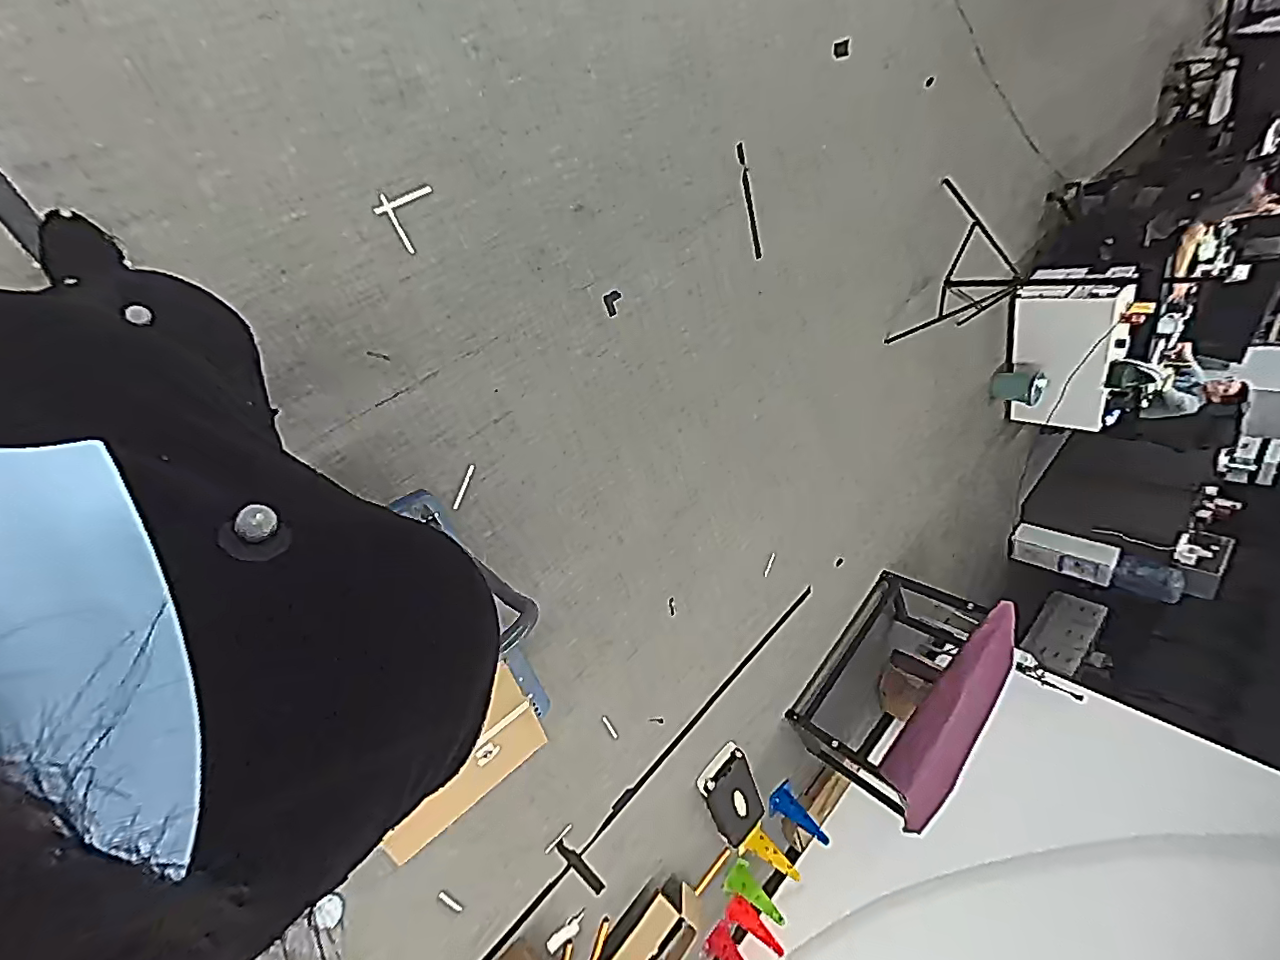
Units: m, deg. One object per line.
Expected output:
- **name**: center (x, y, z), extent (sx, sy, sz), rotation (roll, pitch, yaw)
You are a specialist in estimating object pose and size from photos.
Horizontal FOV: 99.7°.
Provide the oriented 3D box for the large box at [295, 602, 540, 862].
- **large box**: center (-0.525, 0.574, 1.302), extent (0.408, 0.320, 0.320), rotation (-34, 124, -29)
